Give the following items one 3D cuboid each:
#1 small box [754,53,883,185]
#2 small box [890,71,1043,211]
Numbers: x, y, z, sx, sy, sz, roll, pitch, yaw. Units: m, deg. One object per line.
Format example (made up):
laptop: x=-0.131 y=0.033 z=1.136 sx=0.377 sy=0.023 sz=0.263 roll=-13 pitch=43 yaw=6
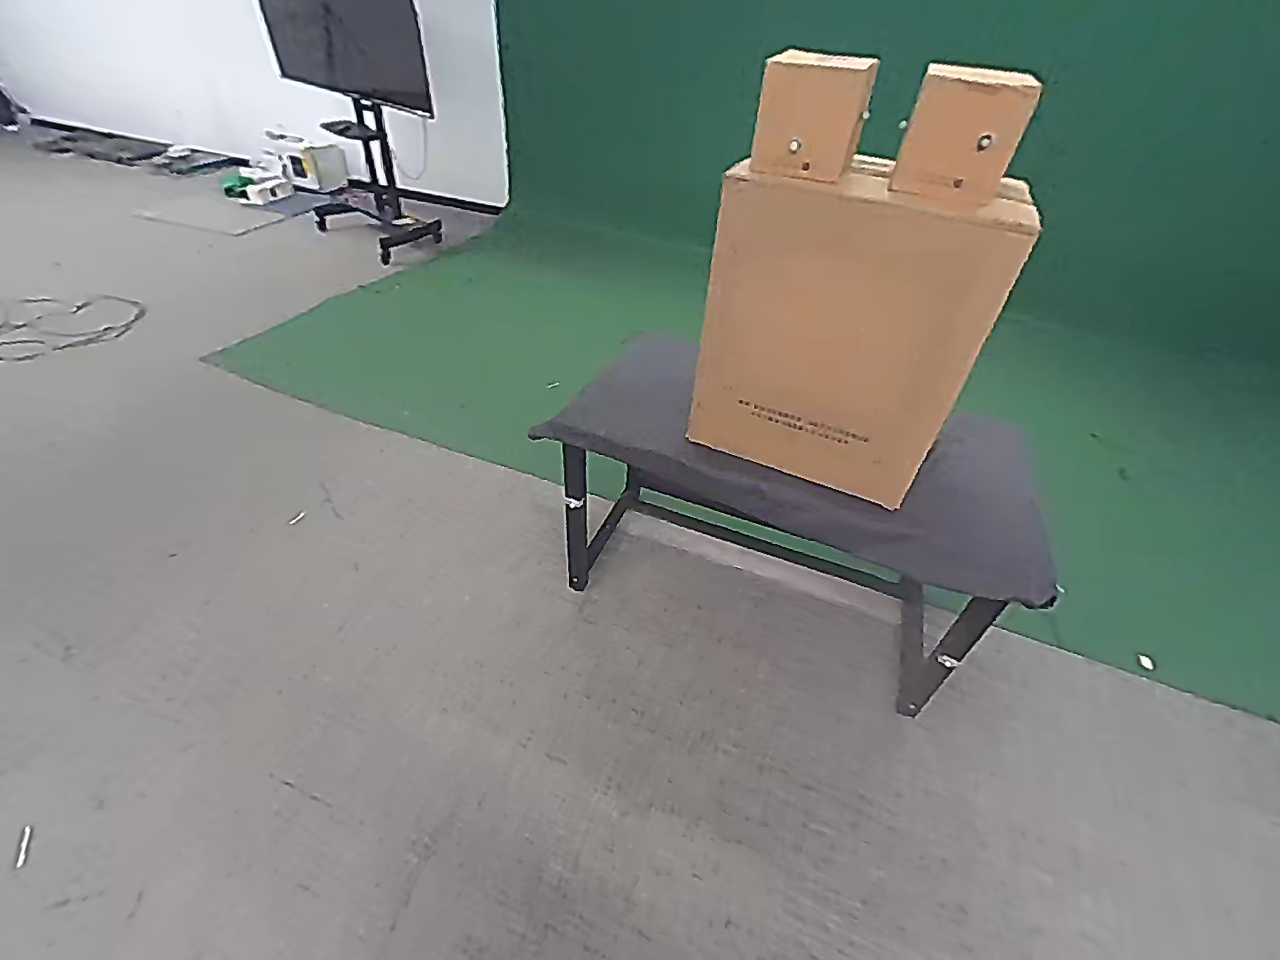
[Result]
small box: x=0.320 y=-0.659 z=0.985 sx=0.168 sy=0.176 sz=0.179 roll=21 pitch=46 yaw=18
small box: x=0.550 y=-0.585 z=0.935 sx=0.168 sy=0.176 sz=0.179 roll=19 pitch=44 yaw=11
